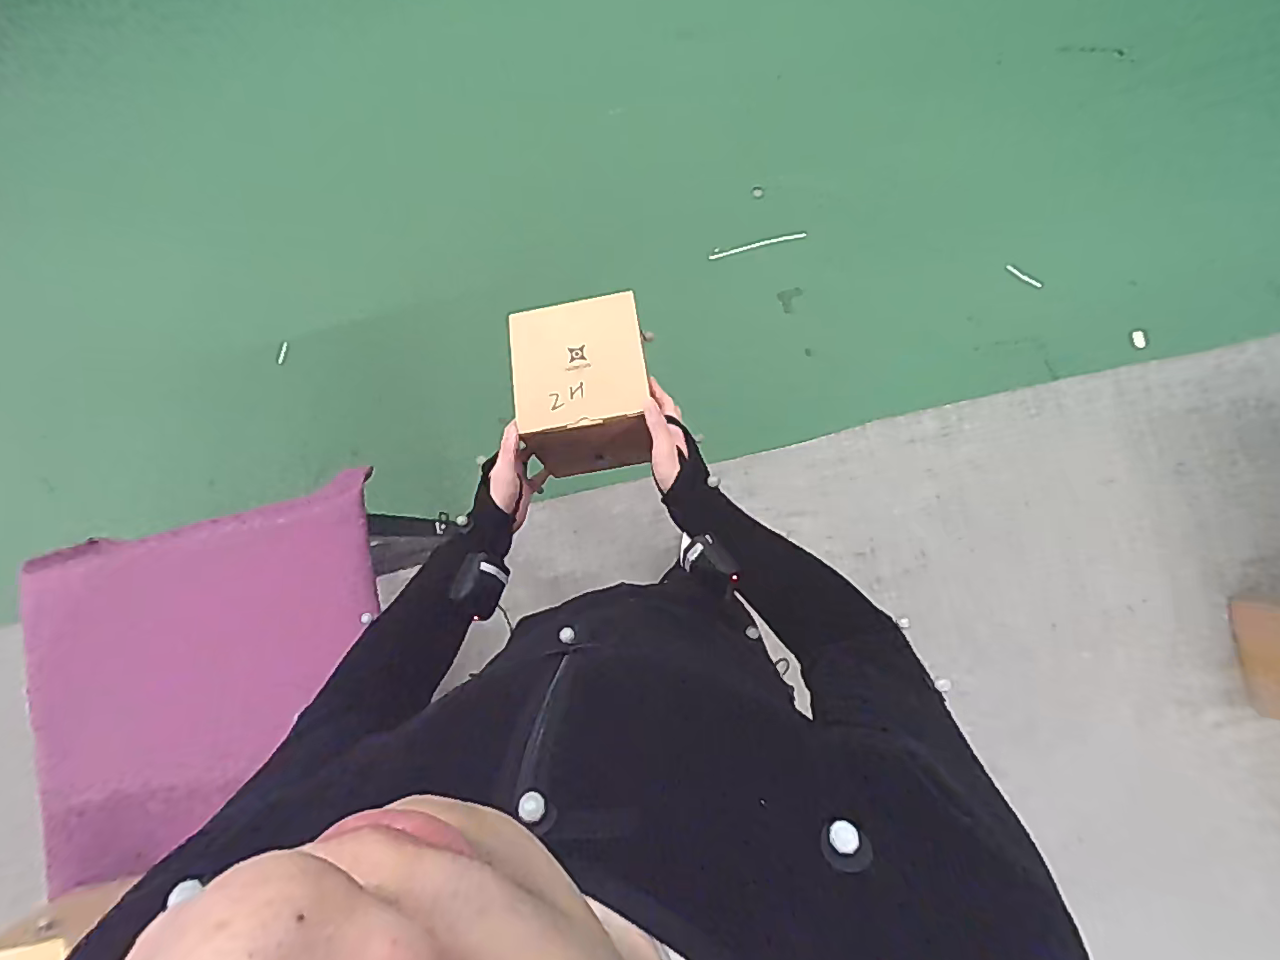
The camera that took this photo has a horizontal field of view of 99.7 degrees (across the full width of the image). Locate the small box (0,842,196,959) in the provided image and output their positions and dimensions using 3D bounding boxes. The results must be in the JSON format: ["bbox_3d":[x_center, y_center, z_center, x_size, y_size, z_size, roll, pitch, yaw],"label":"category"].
[{"bbox_3d":[-0.867,0.722,0.872,0.179,0.176,0.168,-11,83,2],"label":"small box"}]

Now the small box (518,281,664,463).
[{"bbox_3d":[-0.062,-0.140,0.749,0.168,0.176,0.179,-8,72,6],"label":"small box"}]

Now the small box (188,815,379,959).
[{"bbox_3d":[-0.547,0.661,0.847,0.179,0.176,0.168,-13,84,5],"label":"small box"}]
